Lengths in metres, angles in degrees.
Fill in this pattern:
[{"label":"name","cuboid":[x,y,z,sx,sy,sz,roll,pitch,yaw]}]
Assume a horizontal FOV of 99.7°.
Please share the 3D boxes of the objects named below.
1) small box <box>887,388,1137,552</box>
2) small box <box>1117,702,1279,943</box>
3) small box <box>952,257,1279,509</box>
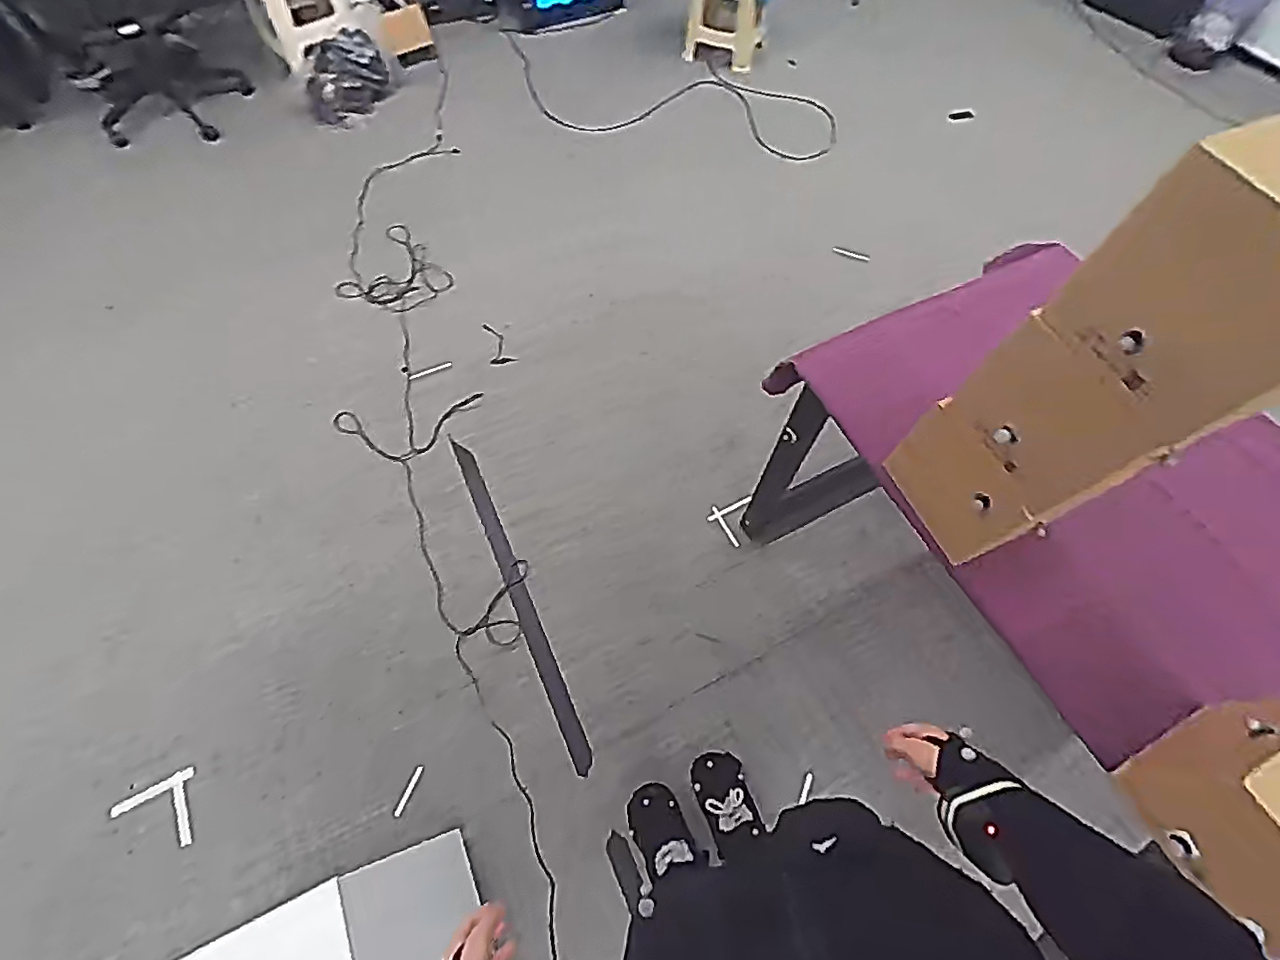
[{"label":"small box","cuboid":[0.472,-0.020,0.719,0.168,0.176,0.179,-20,65,-11]},{"label":"small box","cuboid":[0.655,0.336,0.544,0.179,0.176,0.168,-24,65,-11]},{"label":"small box","cuboid":[0.483,-0.094,0.573,0.179,0.176,0.168,-22,66,-10]}]
